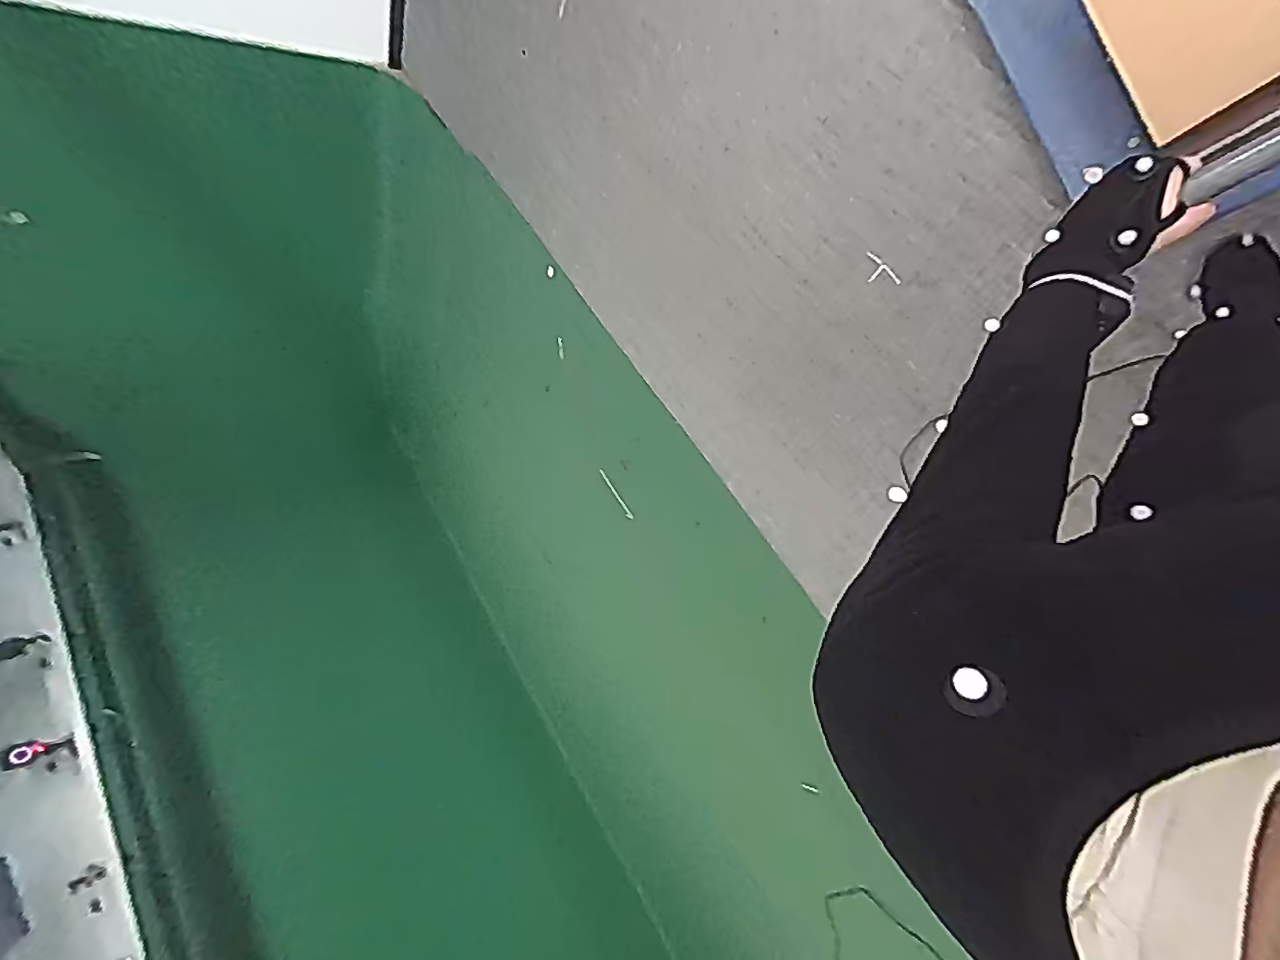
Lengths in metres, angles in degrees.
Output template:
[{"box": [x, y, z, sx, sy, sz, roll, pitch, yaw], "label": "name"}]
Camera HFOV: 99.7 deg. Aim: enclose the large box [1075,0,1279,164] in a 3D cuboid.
[{"box": [0.856, -0.735, 0.755, 0.320, 0.320, 0.408, -28, 83, 51], "label": "large box"}]
